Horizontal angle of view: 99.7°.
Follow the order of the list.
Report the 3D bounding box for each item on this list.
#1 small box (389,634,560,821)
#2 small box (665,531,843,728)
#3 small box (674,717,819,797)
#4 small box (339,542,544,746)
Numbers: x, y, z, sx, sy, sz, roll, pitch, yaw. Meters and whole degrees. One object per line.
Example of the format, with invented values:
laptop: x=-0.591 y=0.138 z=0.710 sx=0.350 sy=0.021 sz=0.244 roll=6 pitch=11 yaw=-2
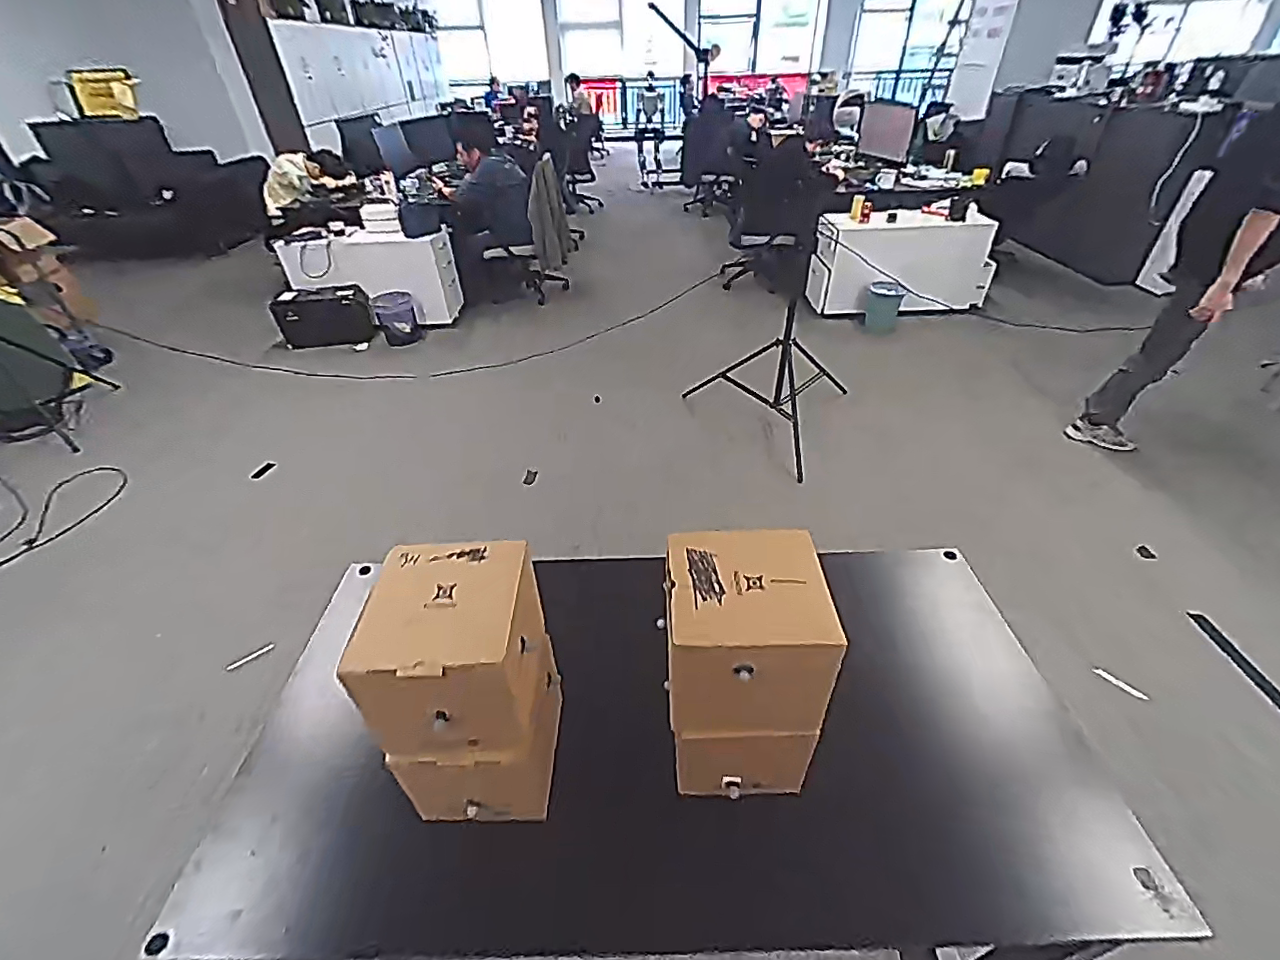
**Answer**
small box: x=-0.206 y=0.330 z=0.732 sx=0.168 sy=0.176 sz=0.179 roll=-1 pitch=38 yaw=2
small box: x=0.121 y=0.179 z=0.648 sx=0.179 sy=0.176 sz=0.168 roll=-1 pitch=38 yaw=2
small box: x=0.131 y=0.309 z=0.749 sx=0.168 sy=0.176 sz=0.179 roll=-3 pitch=39 yaw=0
small box: x=-0.212 y=0.195 z=0.638 sx=0.168 sy=0.176 sz=0.179 roll=-2 pitch=39 yaw=-1
